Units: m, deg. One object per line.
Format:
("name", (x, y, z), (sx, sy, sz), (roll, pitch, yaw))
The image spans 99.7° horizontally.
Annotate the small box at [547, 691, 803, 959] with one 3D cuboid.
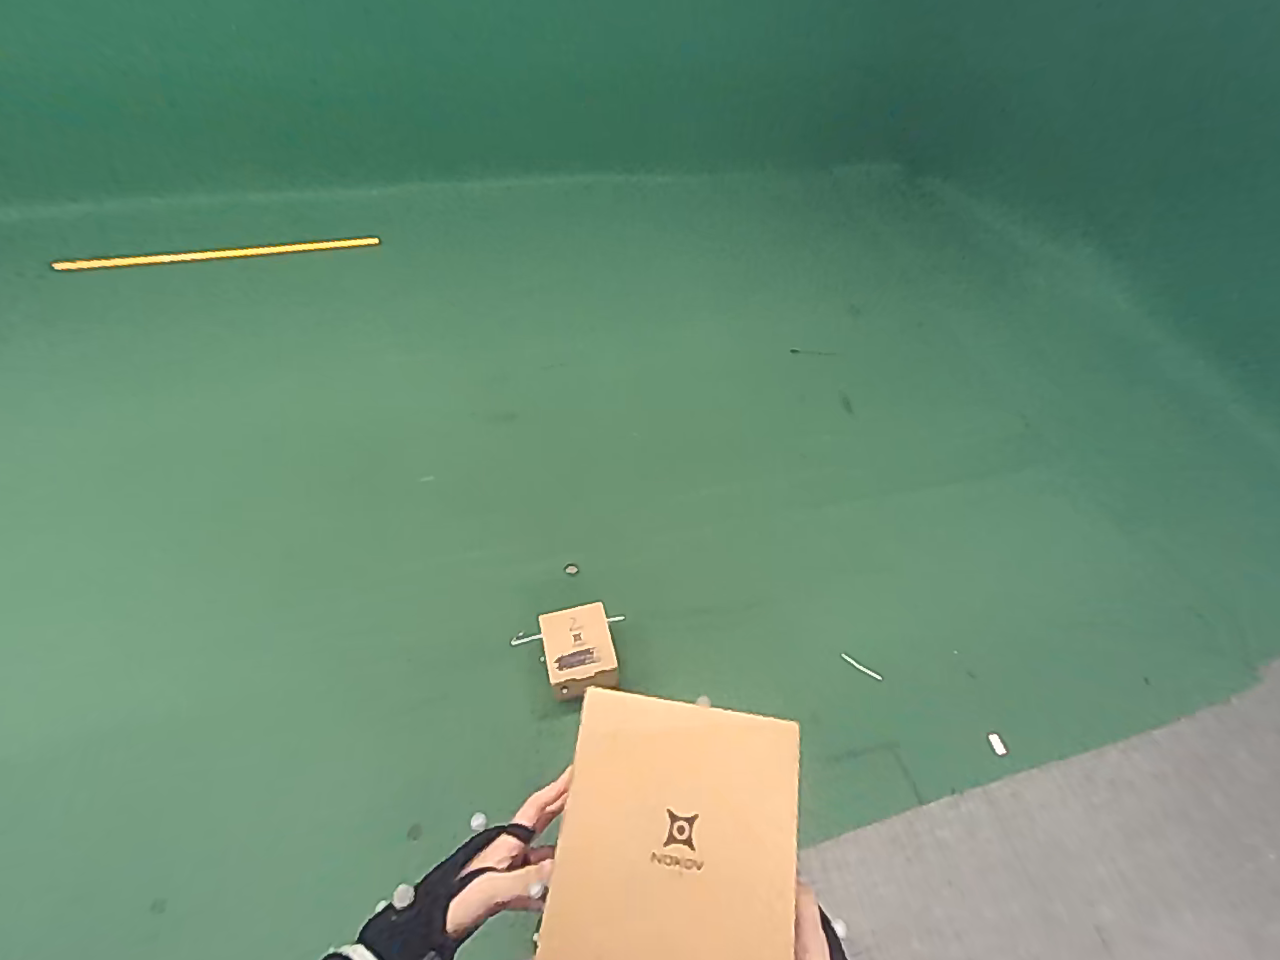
("small box", (0.025, 0.288, 0.449), (0.168, 0.176, 0.179), (9, 63, 0))
